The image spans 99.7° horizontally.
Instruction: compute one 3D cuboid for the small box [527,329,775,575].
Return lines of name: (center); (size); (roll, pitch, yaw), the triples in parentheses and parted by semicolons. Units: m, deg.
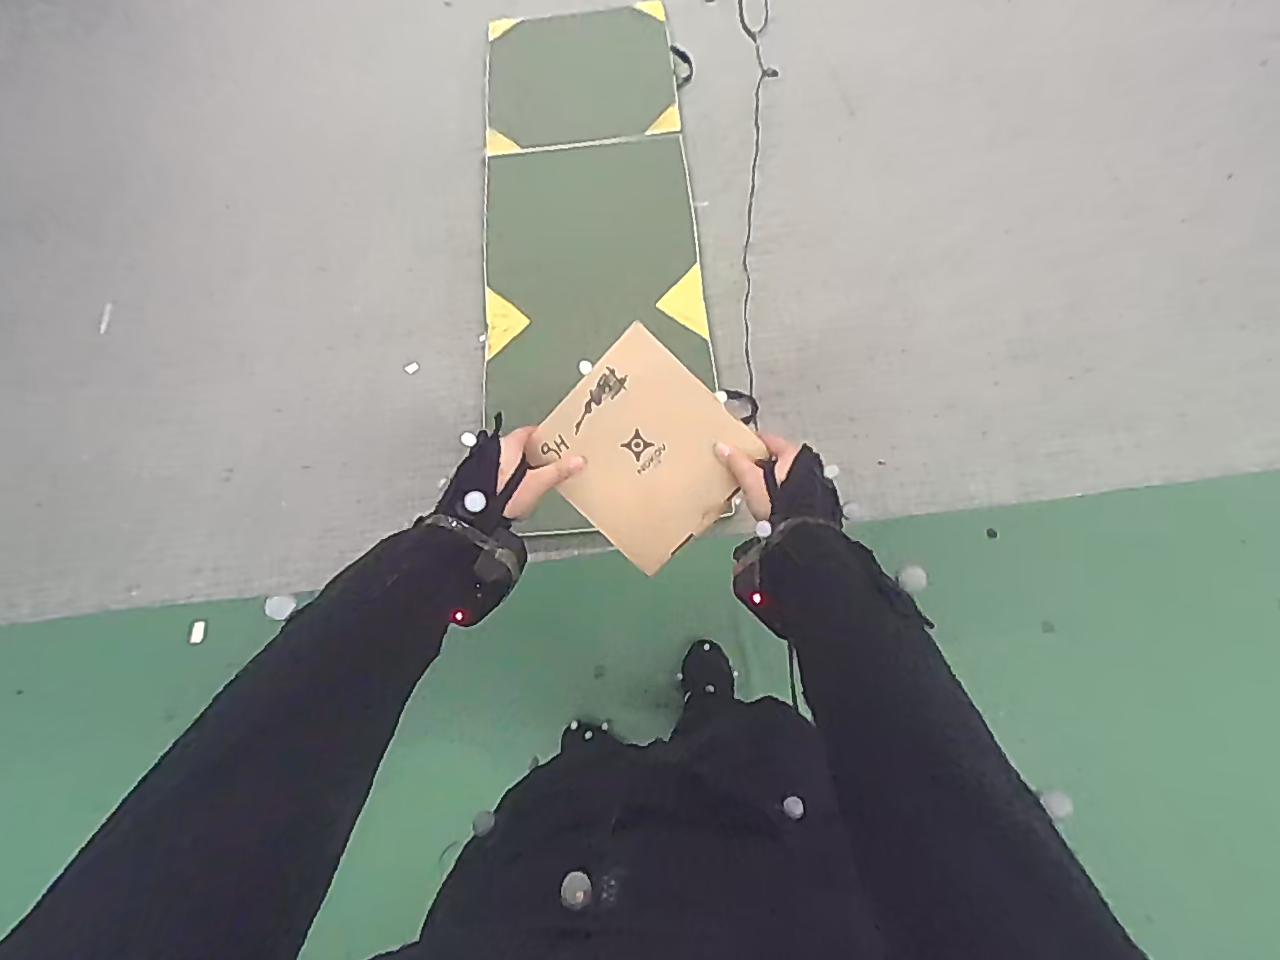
small box: (0.015, -0.033, 0.580); (0.179, 0.176, 0.168); (45, 97, -1)
